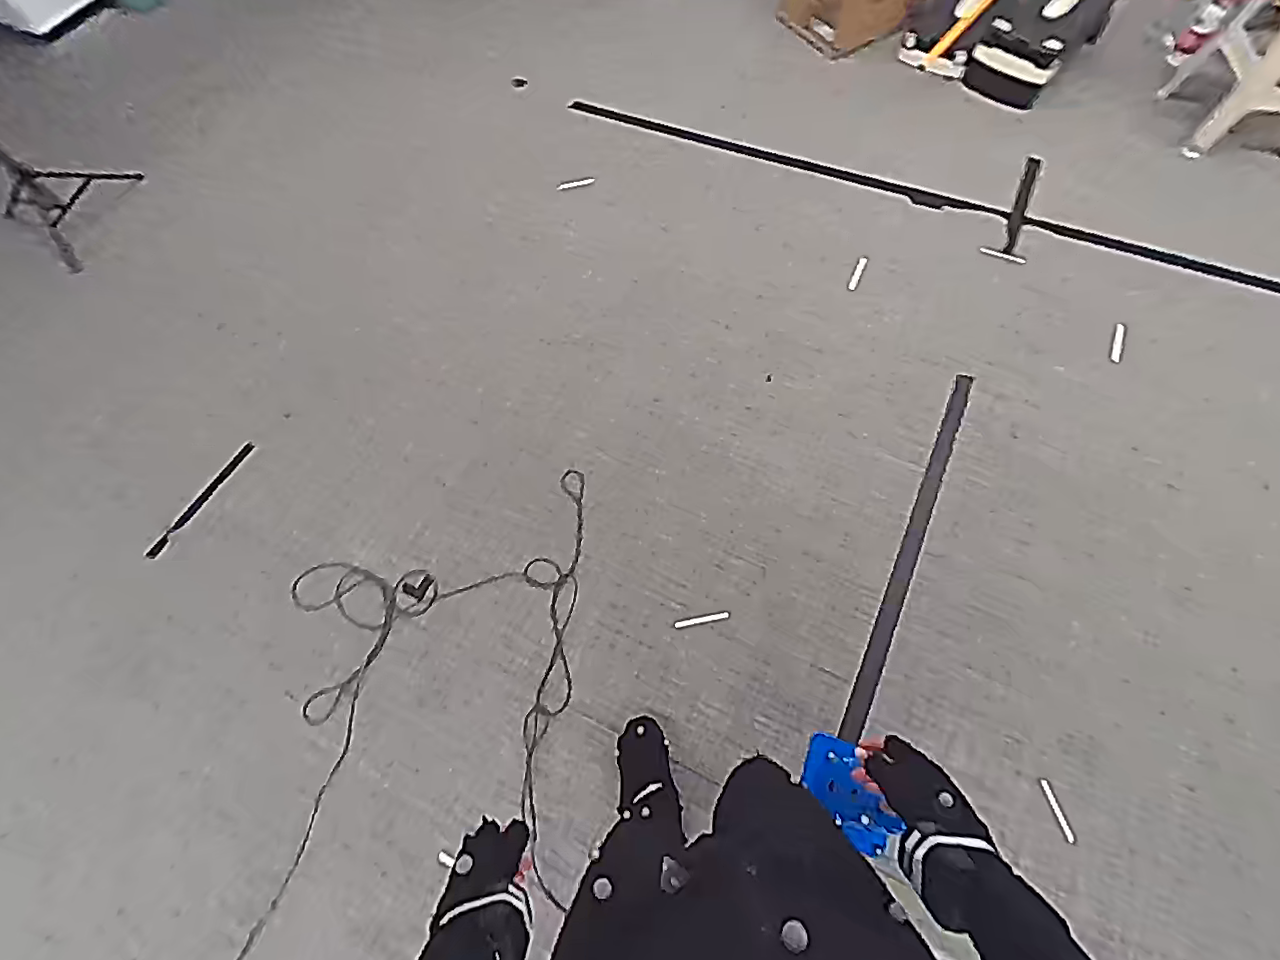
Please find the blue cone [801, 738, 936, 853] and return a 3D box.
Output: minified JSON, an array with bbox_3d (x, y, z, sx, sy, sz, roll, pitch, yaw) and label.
[{"bbox_3d":[0.459,0.630,1.052,0.192,0.380,0.193,20,69,10],"label":"blue cone"}]
